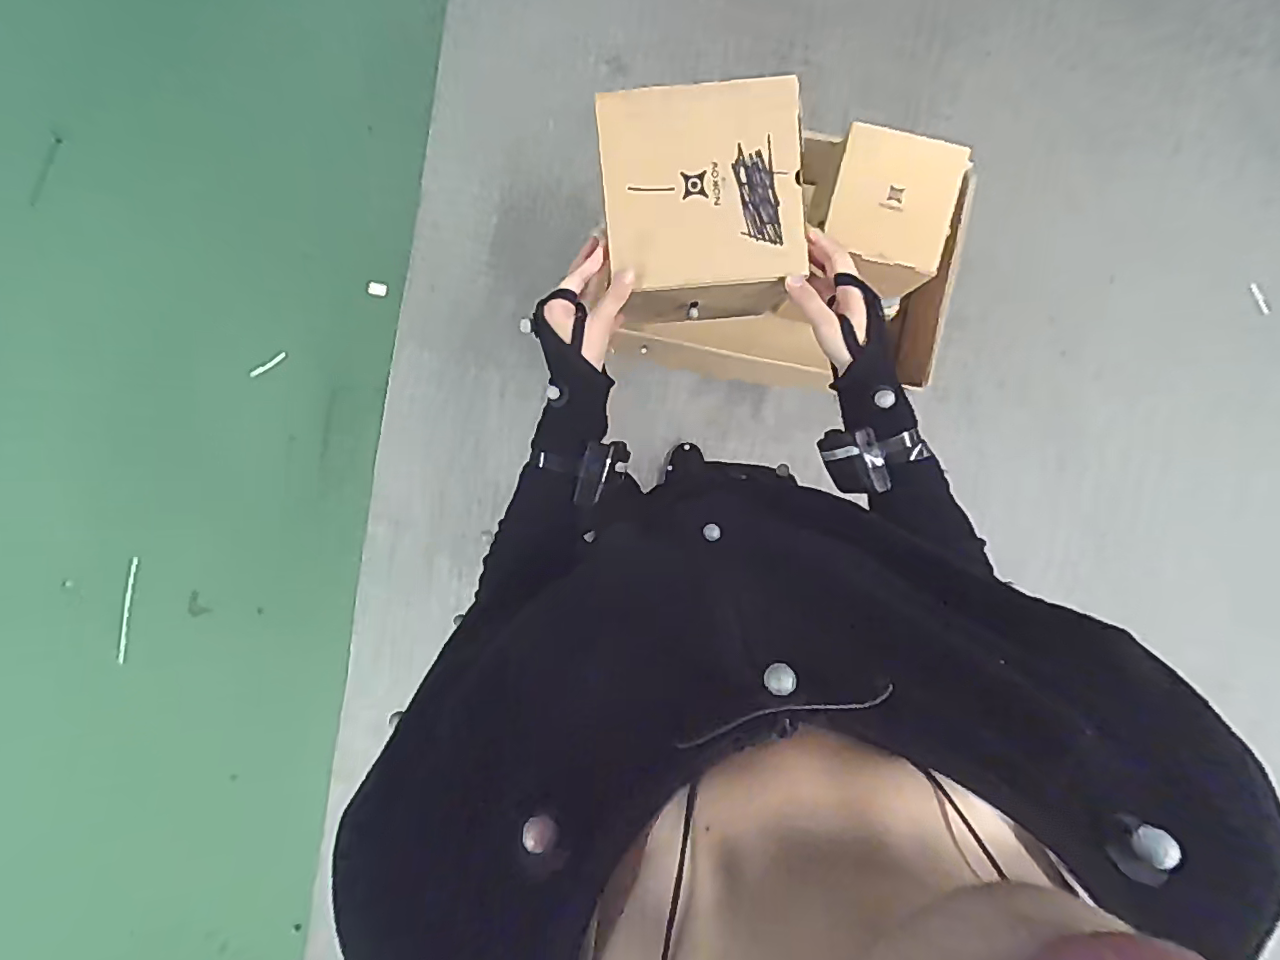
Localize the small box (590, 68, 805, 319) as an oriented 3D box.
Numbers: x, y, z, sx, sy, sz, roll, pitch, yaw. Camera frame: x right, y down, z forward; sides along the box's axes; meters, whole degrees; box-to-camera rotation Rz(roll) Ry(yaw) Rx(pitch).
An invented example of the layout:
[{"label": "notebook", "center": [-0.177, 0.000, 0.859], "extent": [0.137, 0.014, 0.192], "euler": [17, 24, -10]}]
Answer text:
[{"label": "small box", "center": [0.049, -0.263, 0.537], "extent": [0.179, 0.176, 0.168], "euler": [-5, 95, 0]}]

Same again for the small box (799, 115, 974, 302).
[{"label": "small box", "center": [0.352, -0.392, 0.810], "extent": [0.168, 0.176, 0.179], "euler": [14, 93, 1]}]
